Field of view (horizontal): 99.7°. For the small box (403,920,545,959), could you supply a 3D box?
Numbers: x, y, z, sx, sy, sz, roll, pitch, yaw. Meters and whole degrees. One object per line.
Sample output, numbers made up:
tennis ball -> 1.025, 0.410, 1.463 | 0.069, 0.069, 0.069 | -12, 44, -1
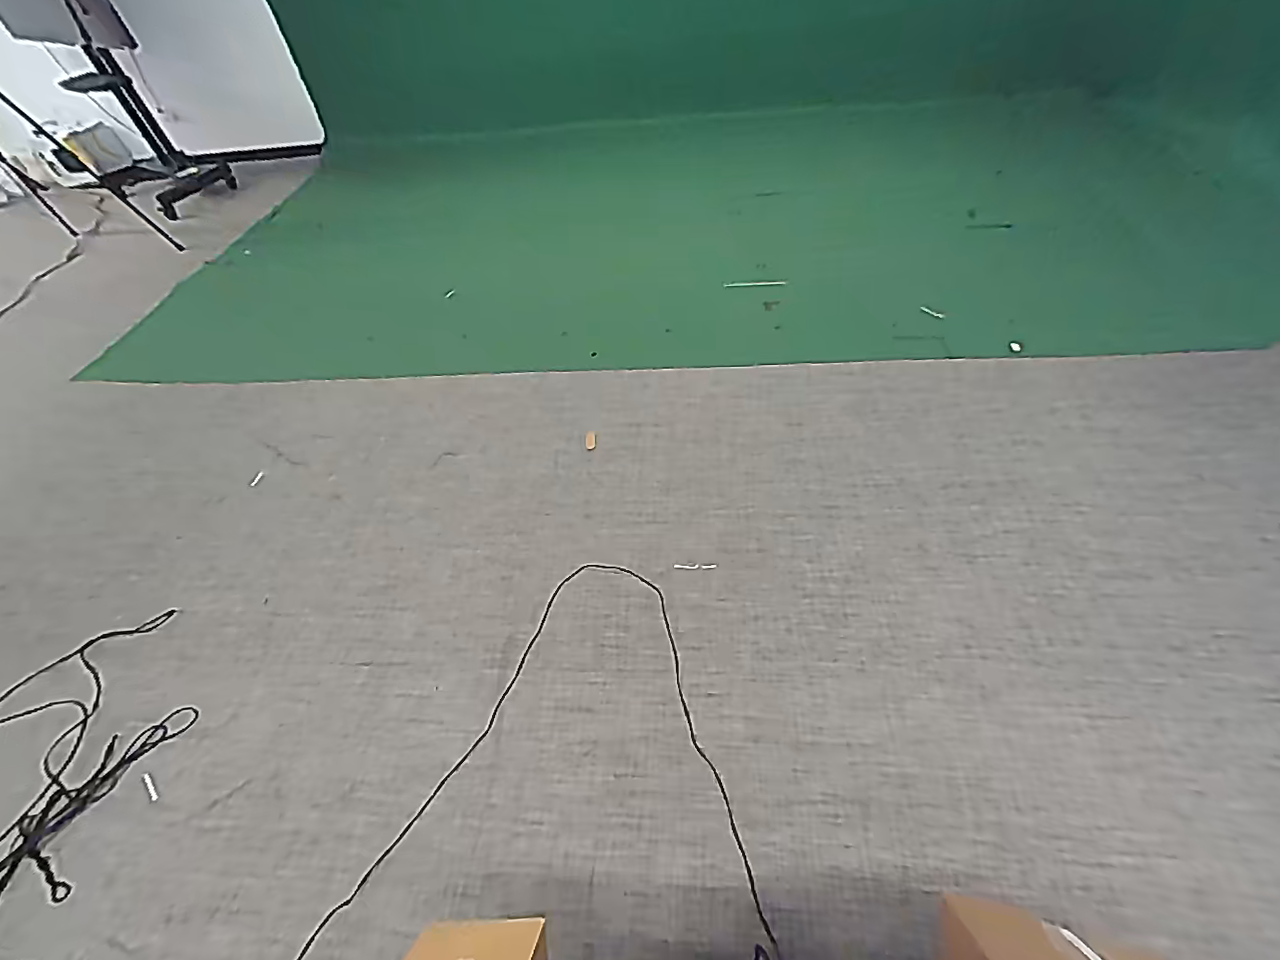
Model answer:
small box -> -0.211, 0.670, 0.639 | 0.168, 0.179, 0.176 | -5, 85, 3
